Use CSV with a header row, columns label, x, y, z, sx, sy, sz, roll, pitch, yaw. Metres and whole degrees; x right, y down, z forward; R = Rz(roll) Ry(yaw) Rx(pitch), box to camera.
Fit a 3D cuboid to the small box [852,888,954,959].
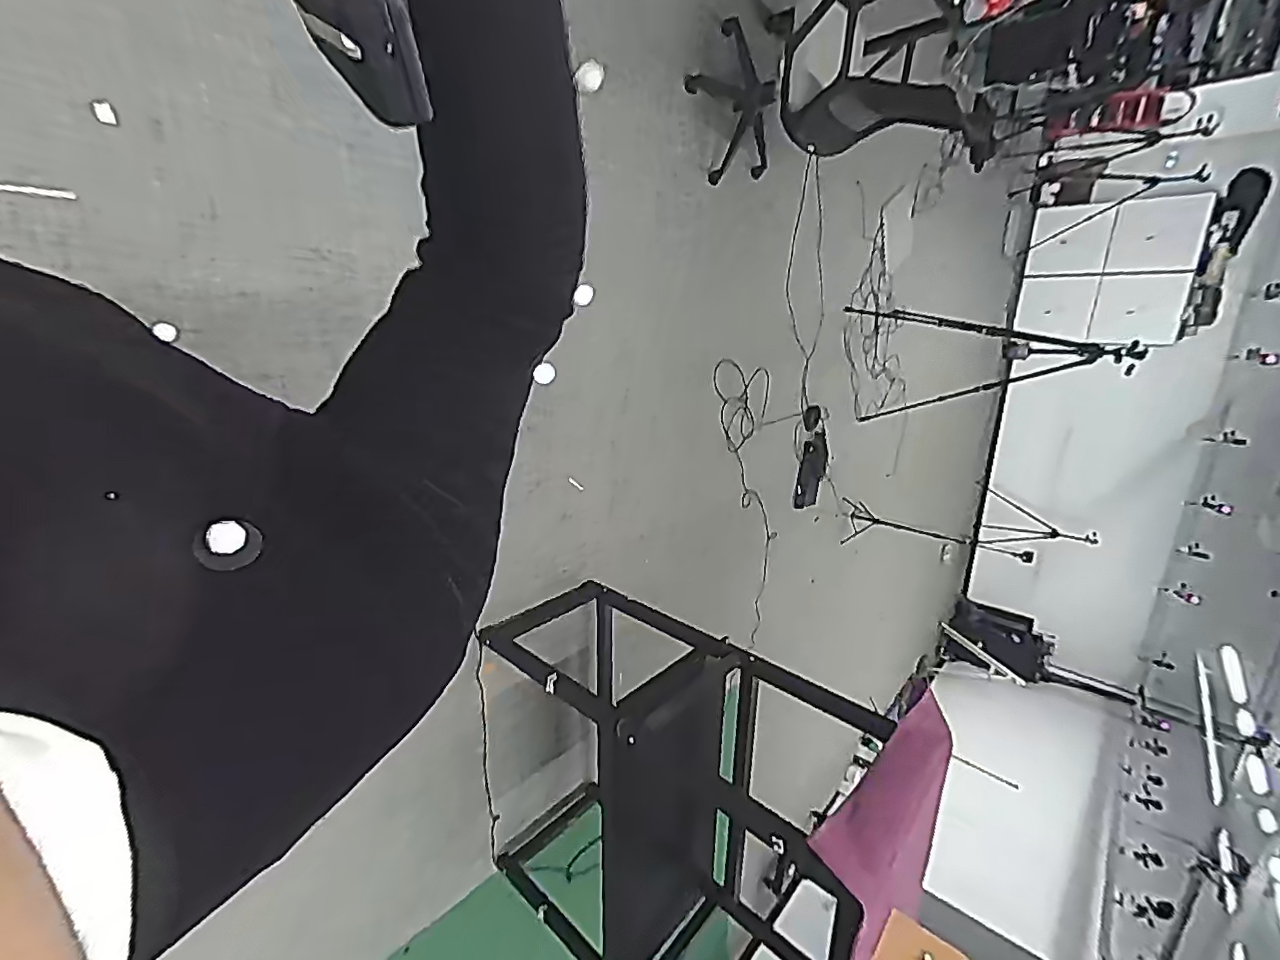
label,x,y,z,sx,sy,sz,roll,pitch,yaw
small box,0.601,1.108,1.250,0.179,0.176,0.168,-19,115,-47
